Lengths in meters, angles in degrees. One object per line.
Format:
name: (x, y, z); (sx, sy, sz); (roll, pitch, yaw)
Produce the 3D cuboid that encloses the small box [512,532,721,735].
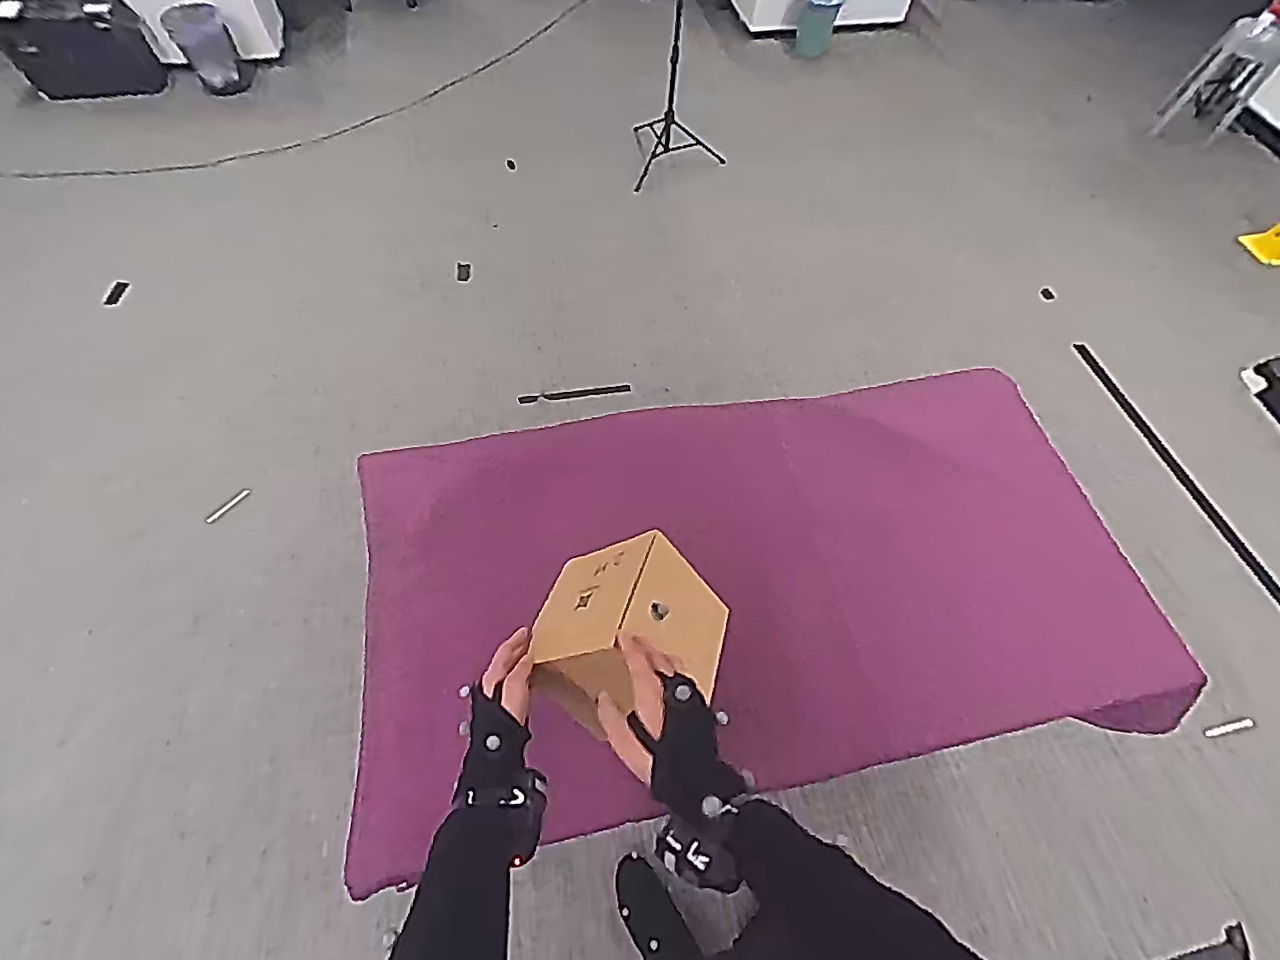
small box: (-0.018, 0.200, 0.676); (0.176, 0.168, 0.179); (49, 40, -22)
